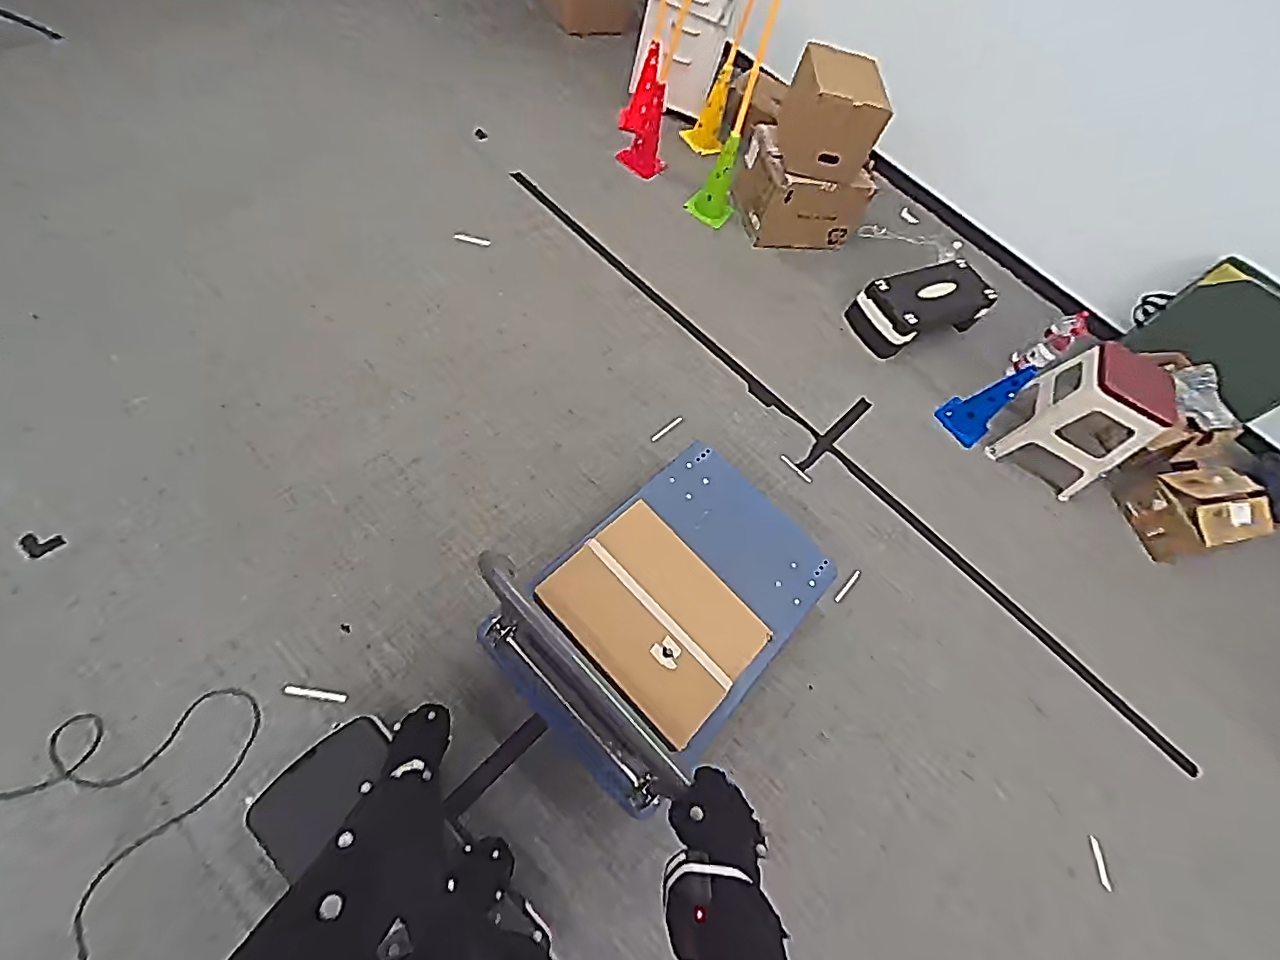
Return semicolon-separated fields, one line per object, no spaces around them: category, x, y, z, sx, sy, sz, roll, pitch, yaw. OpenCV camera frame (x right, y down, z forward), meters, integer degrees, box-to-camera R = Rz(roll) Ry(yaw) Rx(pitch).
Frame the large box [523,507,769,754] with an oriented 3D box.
large box;-0.007;0.341;1.209;0.408;0.320;0.320;46;61;9
